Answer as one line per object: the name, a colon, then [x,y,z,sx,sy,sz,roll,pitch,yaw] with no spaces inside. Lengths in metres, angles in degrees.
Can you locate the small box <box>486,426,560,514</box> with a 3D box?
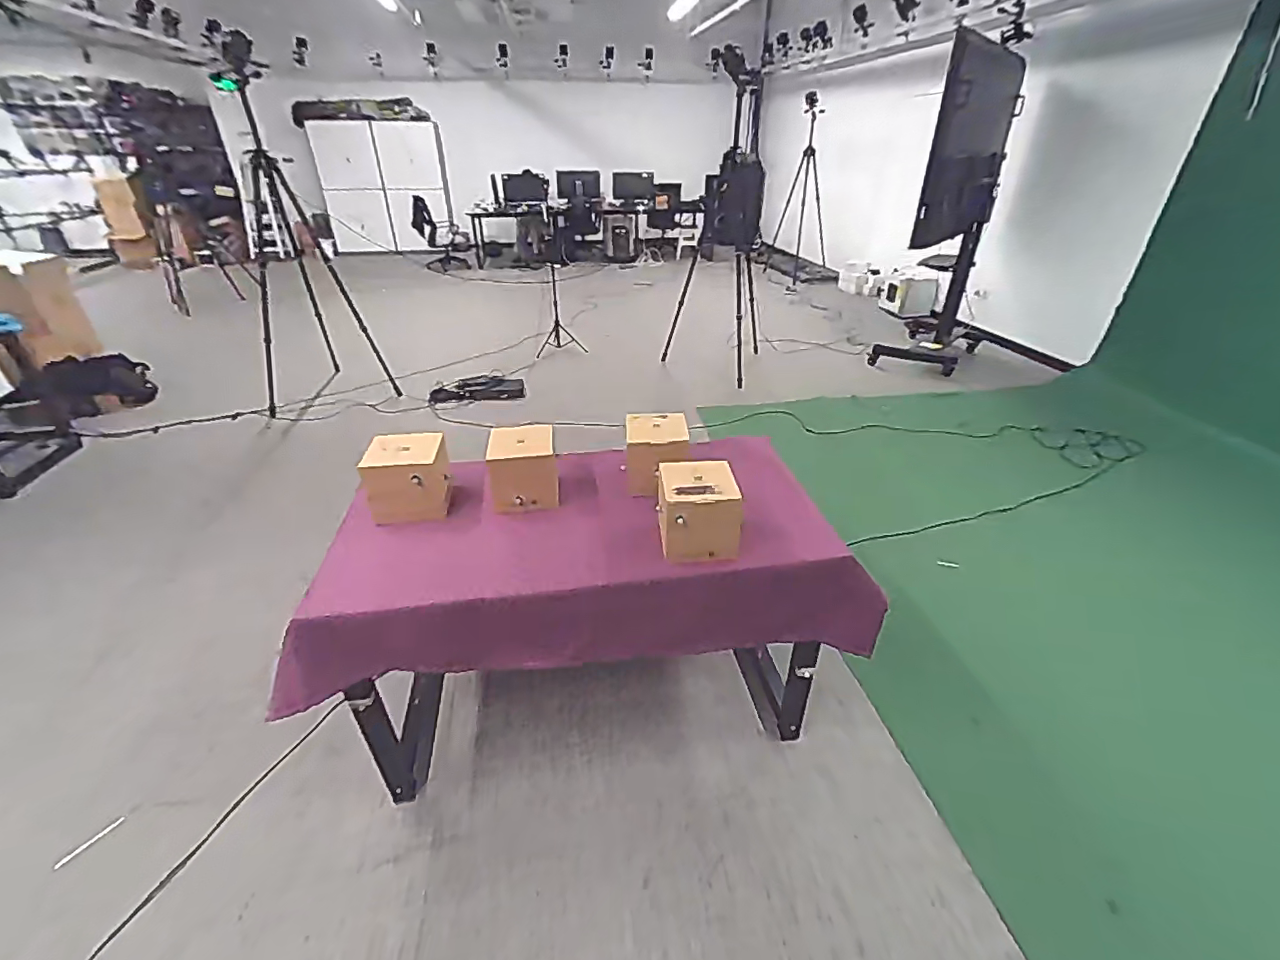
small box: [-0.306,-0.029,1.440,0.168,0.176,0.179,-5,32,-6]

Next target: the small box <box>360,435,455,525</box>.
small box: [-0.589,0.000,1.397,0.179,0.176,0.168,-5,32,-6]

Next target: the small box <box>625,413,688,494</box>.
small box: [0.044,-0.072,1.496,0.168,0.176,0.179,-1,33,-2]
